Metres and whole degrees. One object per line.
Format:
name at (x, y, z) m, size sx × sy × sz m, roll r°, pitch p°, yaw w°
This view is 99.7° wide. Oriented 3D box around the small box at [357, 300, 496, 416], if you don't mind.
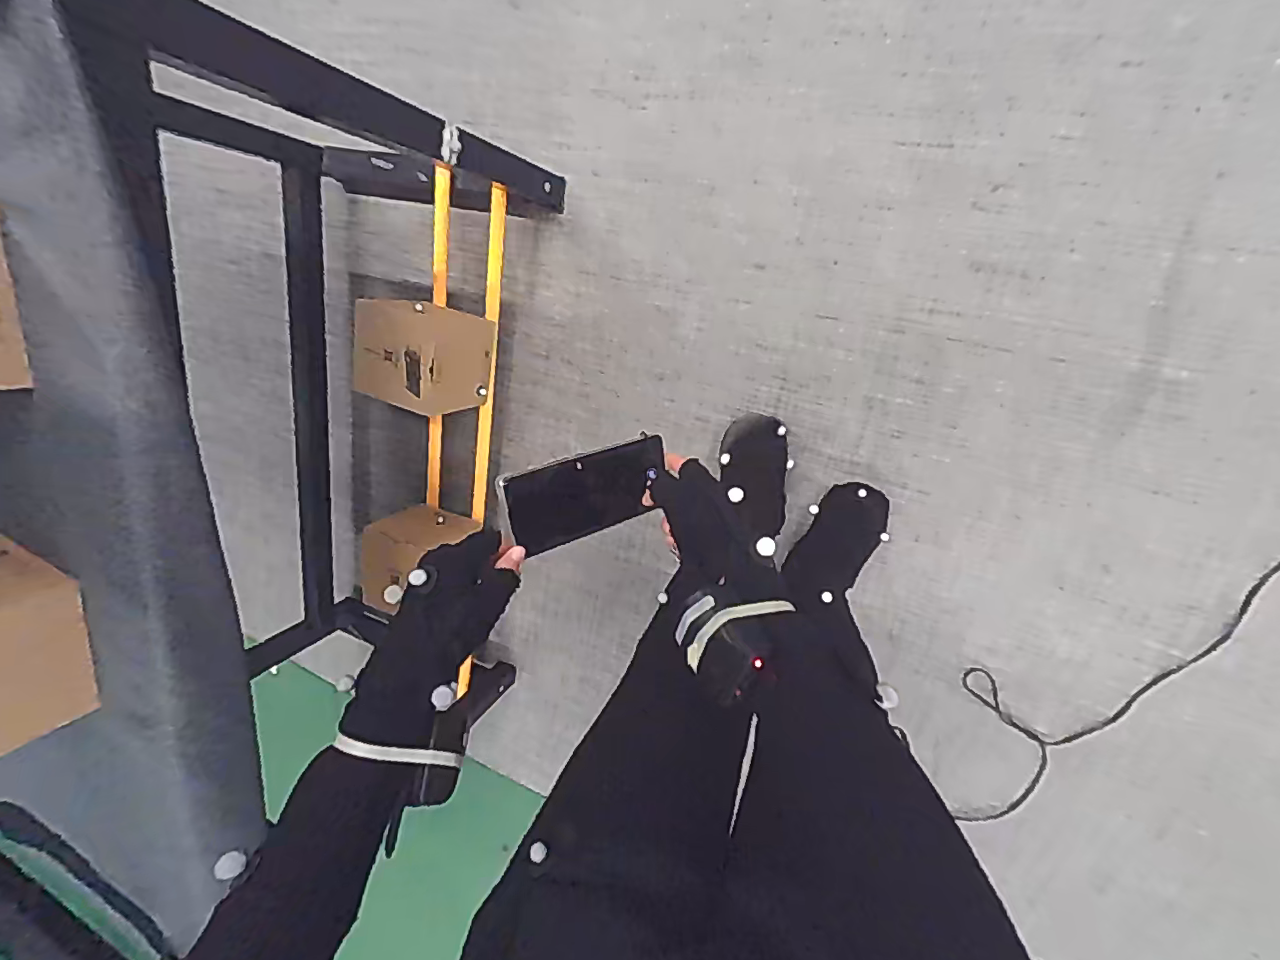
small box at (-0.392, -0.231, 1.007) m, size 0.179 × 0.176 × 0.168 m, roll 19°, pitch 111°, yaw 16°
